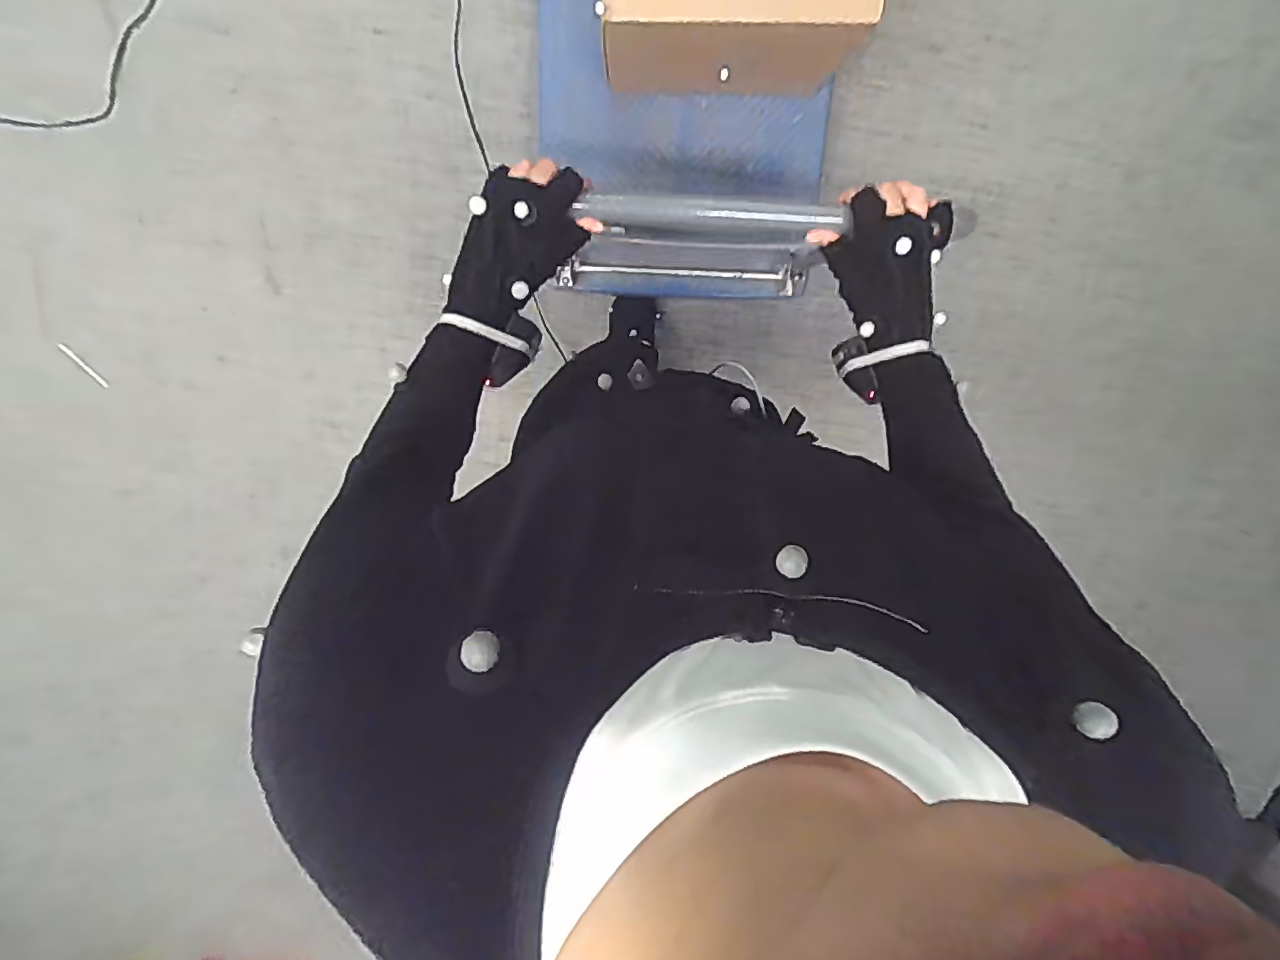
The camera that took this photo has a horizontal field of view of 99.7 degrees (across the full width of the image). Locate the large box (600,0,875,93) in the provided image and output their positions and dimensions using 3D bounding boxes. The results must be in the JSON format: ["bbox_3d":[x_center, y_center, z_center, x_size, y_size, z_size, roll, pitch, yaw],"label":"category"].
[{"bbox_3d":[0.142,-0.857,0.876,0.408,0.320,0.320,0,108,0],"label":"large box"}]
